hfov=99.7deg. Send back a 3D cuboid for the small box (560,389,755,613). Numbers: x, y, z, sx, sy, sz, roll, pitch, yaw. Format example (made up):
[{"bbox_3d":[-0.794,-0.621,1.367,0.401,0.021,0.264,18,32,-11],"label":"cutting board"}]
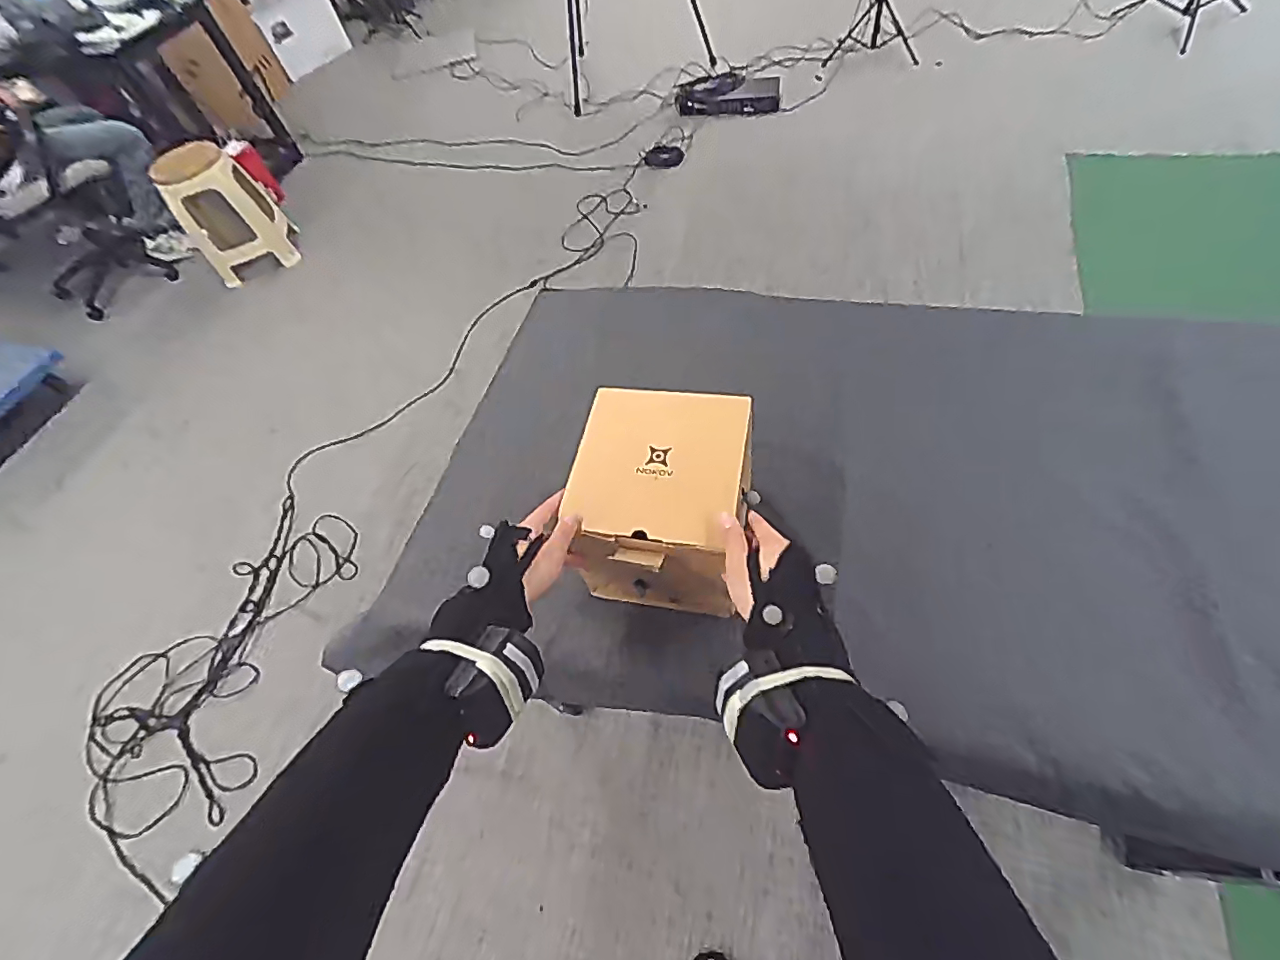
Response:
[{"bbox_3d":[0.031,0.025,0.591,0.168,0.176,0.179,6,59,13],"label":"small box"}]
